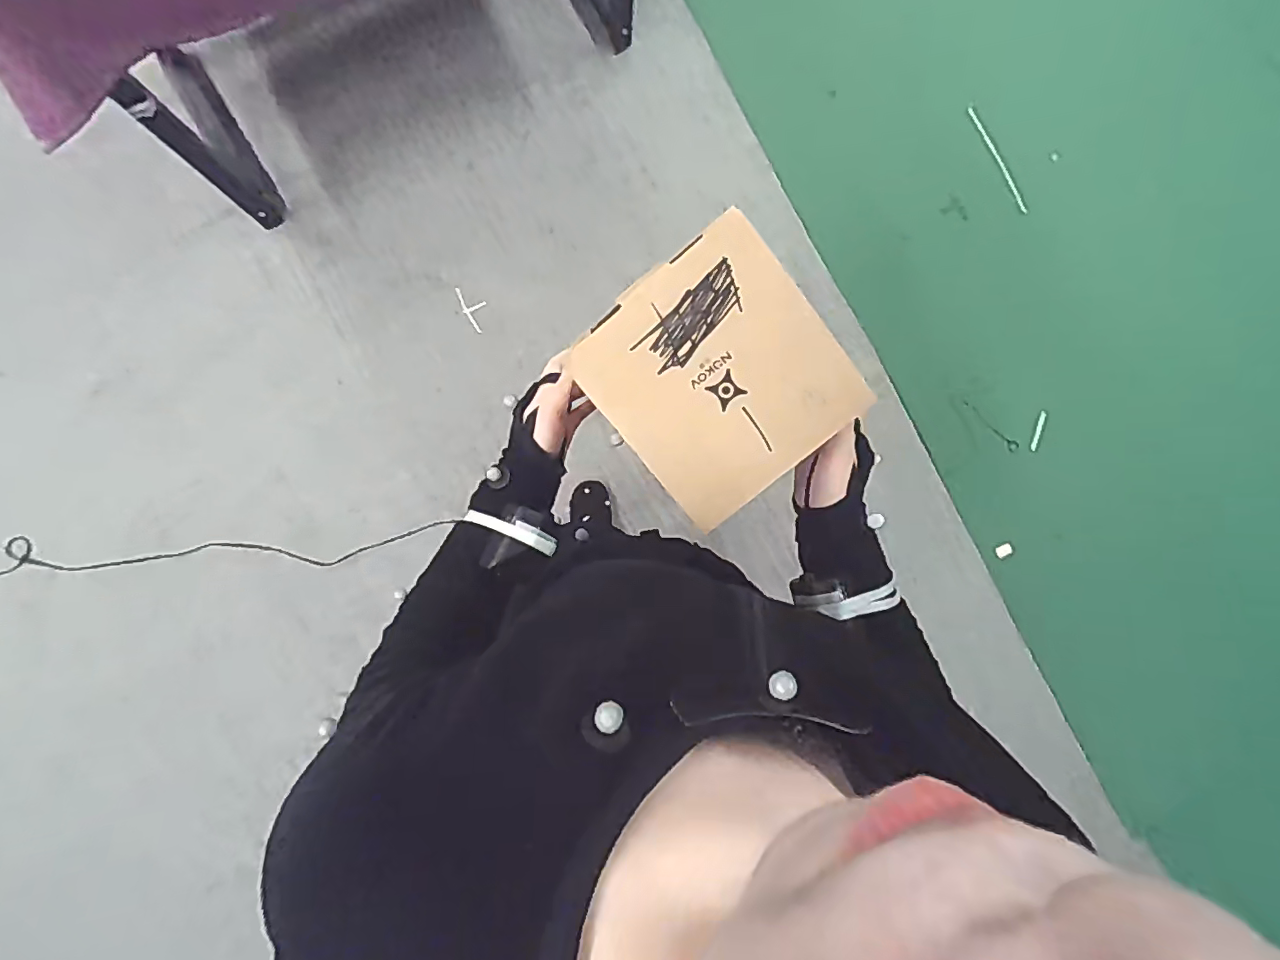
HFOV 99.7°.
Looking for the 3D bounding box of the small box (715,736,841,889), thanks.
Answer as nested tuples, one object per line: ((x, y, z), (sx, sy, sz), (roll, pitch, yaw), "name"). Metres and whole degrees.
((0.267, 0.663, 1.102), (0.179, 0.176, 0.168), (-27, 90, -5), "small box")

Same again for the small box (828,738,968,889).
((0.525, 0.679, 1.123), (0.168, 0.176, 0.179), (-25, 91, -6), "small box")
